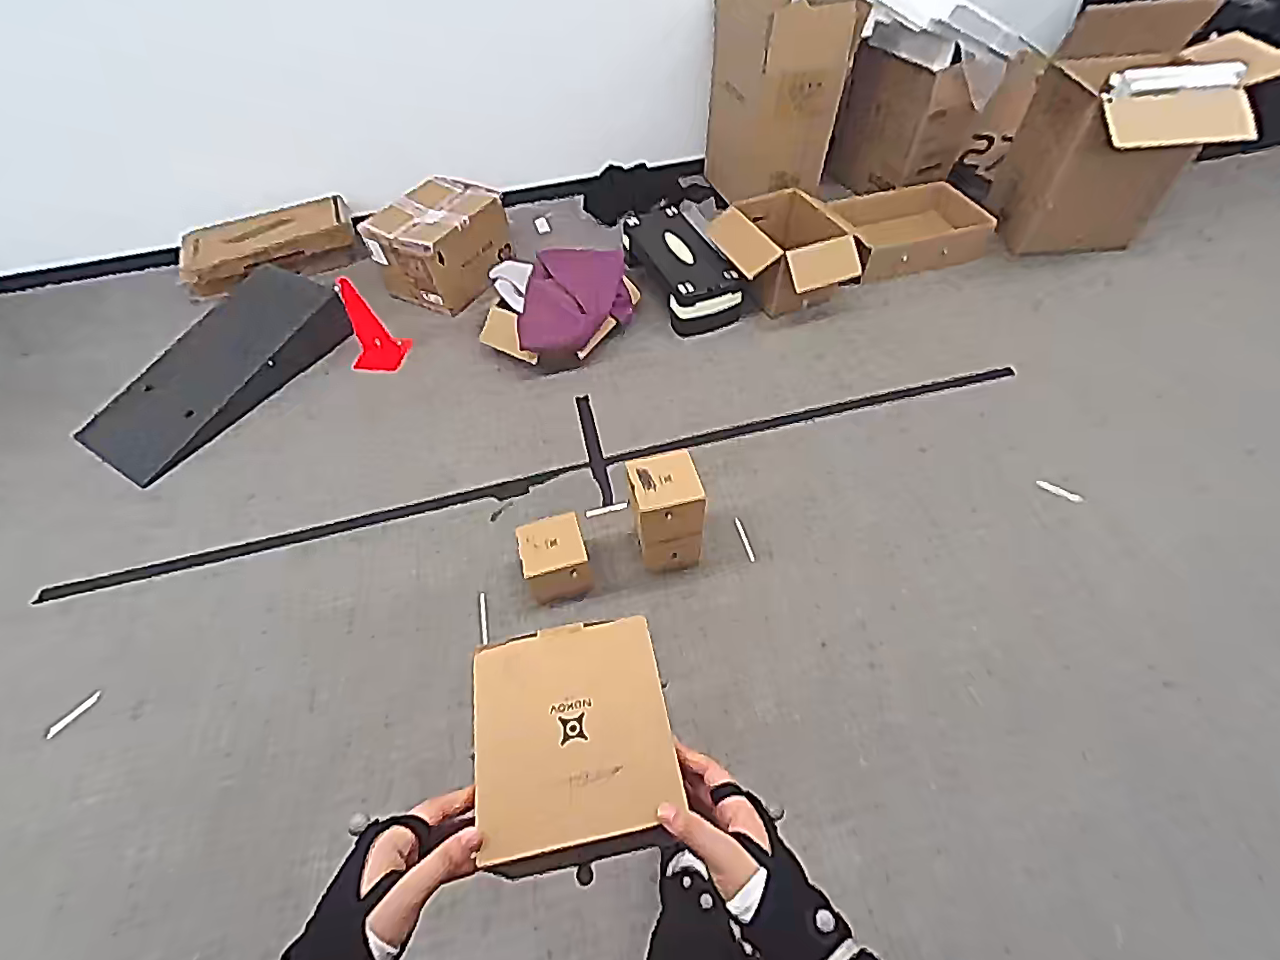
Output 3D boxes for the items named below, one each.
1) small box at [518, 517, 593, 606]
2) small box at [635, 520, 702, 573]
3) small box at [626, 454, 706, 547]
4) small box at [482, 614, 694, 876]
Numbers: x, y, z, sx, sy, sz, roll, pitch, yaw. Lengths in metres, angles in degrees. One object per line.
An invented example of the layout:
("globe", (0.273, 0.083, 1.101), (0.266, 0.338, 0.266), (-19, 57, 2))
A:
("small box", (-0.236, 0.236, 1.546), (0.179, 0.176, 0.168), (-15, 54, -8))
("small box", (0.081, 0.159, 1.589), (0.168, 0.176, 0.179), (-12, 54, -6))
("small box", (0.069, 0.060, 1.456), (0.179, 0.176, 0.168), (-12, 53, -7))
("small box", (-0.054, 0.258, 0.526), (0.168, 0.176, 0.179), (-9, 52, -7))
